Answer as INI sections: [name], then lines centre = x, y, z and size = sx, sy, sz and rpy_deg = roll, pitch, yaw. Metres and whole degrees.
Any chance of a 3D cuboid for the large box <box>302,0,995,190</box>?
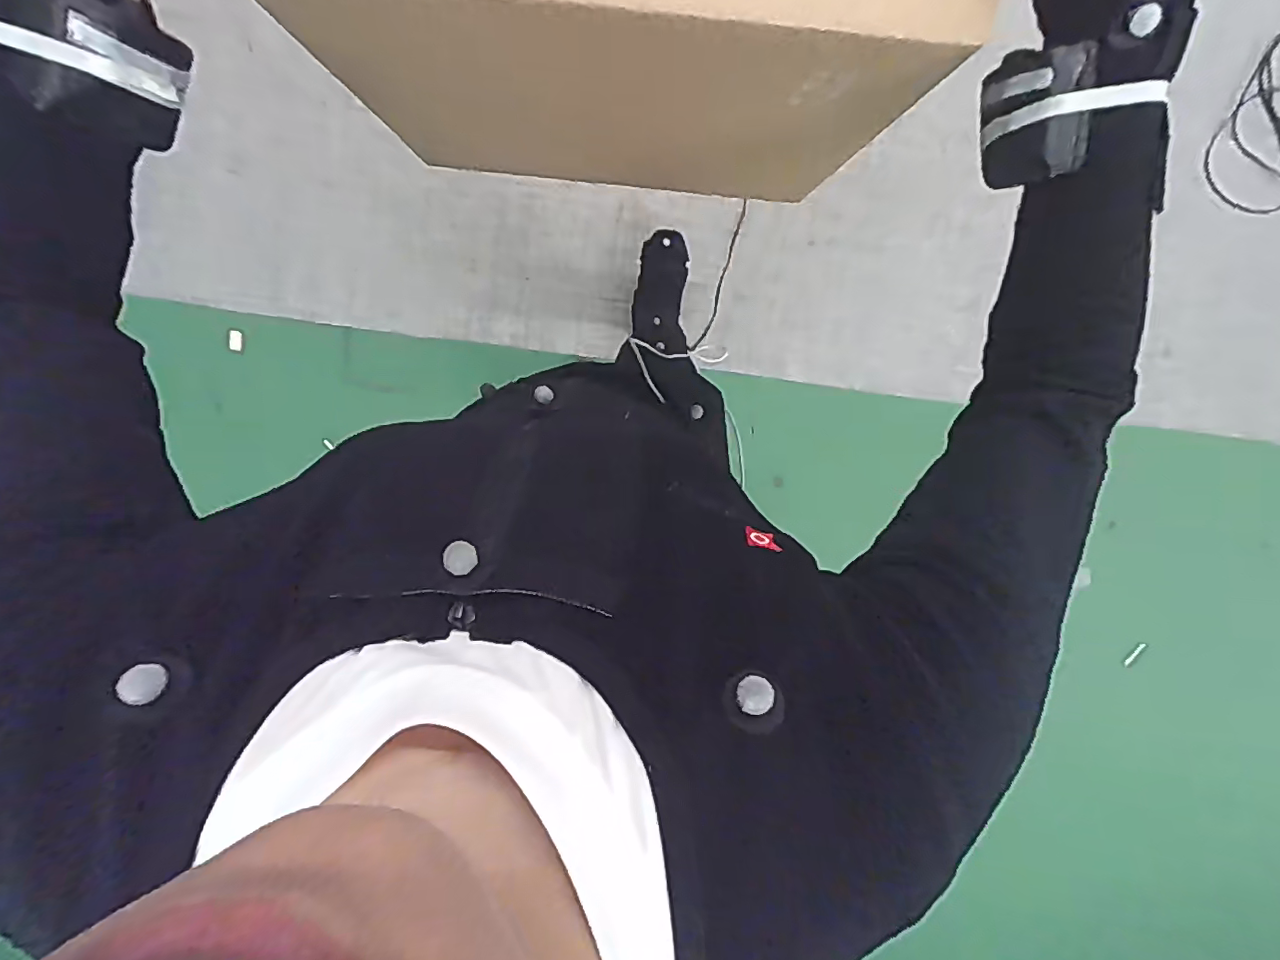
[large box]
centre = -0.001, -0.439, 0.402
size = 0.408, 0.320, 0.320
rpy_deg = 3, 104, -4
